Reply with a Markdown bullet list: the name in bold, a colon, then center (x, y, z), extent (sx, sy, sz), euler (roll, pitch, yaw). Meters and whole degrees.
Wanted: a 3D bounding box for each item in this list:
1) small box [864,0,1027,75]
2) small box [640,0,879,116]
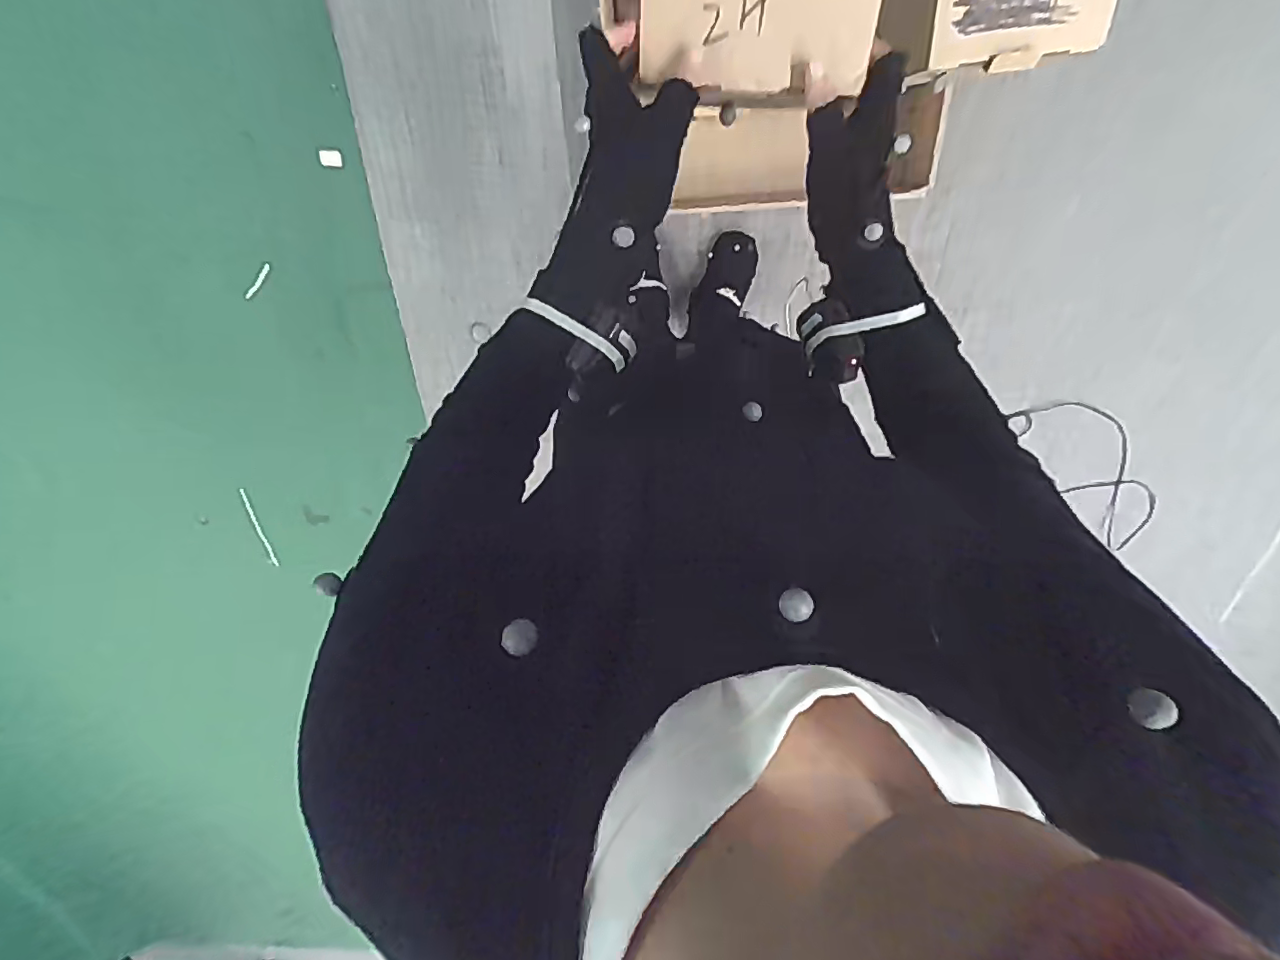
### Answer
- **small box**: center (0.371, -0.627, 0.682), extent (0.168, 0.176, 0.179), euler (-1, 121, 3)
- **small box**: center (0.085, -0.402, 0.425), extent (0.168, 0.176, 0.179), euler (2, 121, 0)
